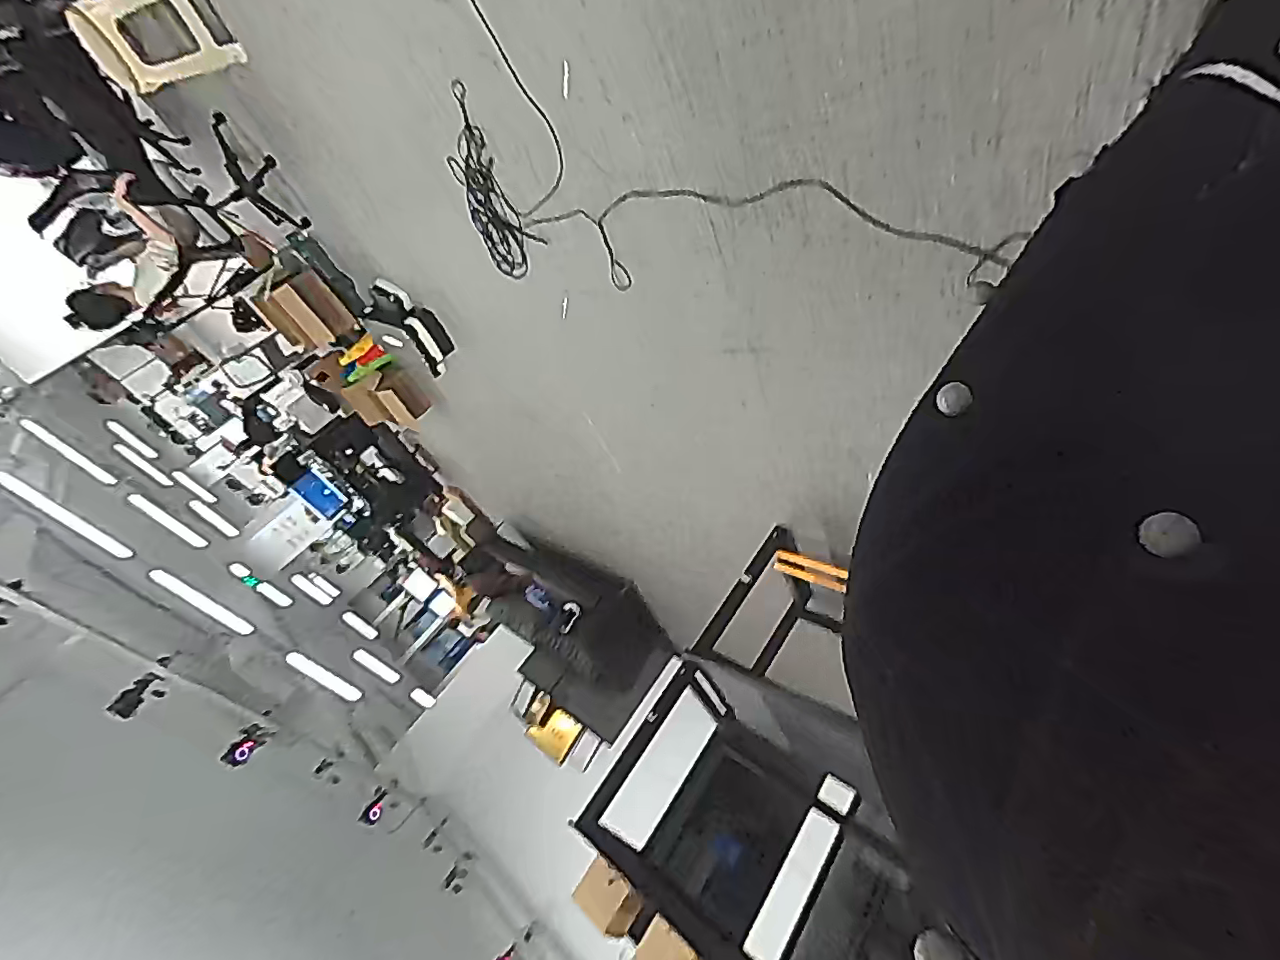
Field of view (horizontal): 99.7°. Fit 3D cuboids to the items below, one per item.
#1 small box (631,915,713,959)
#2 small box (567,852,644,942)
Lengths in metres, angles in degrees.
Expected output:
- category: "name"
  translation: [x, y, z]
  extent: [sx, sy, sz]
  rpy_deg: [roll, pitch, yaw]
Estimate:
- category: "small box"
  translation: [0.094, 1.476, 1.646]
  extent: [0.168, 0.176, 0.179]
  rpy_deg: [12, 144, 47]
- category: "small box"
  translation: [-0.111, 1.423, 1.849]
  extent: [0.168, 0.176, 0.179]
  rpy_deg: [19, 147, 38]
